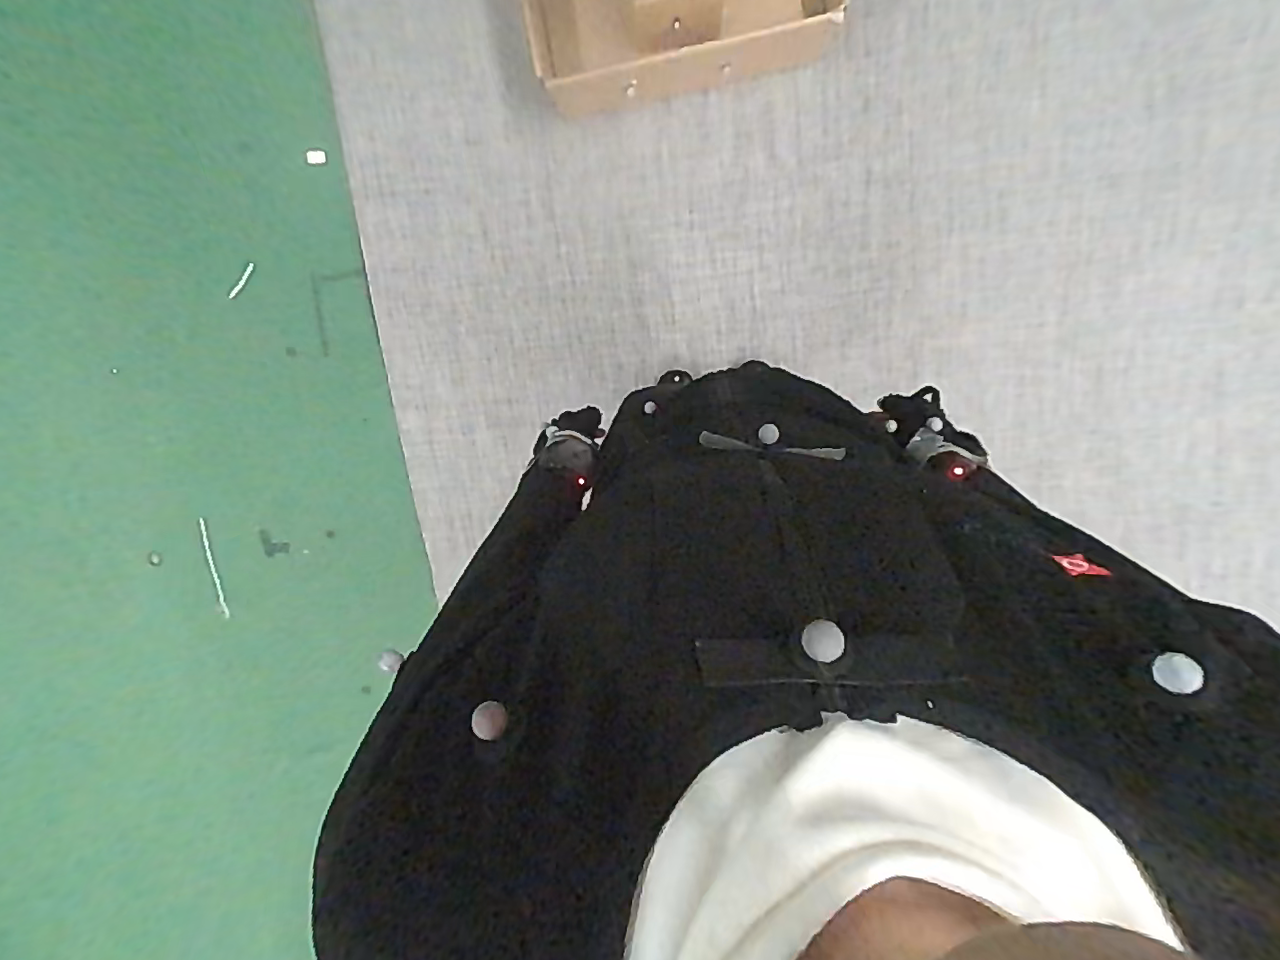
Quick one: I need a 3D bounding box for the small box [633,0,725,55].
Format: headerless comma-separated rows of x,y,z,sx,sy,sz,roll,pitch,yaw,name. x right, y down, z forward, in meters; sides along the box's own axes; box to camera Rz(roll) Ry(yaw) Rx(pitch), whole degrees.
0.072,-1.007,1.089,0.179,0.176,0.168,-9,101,6,small box
